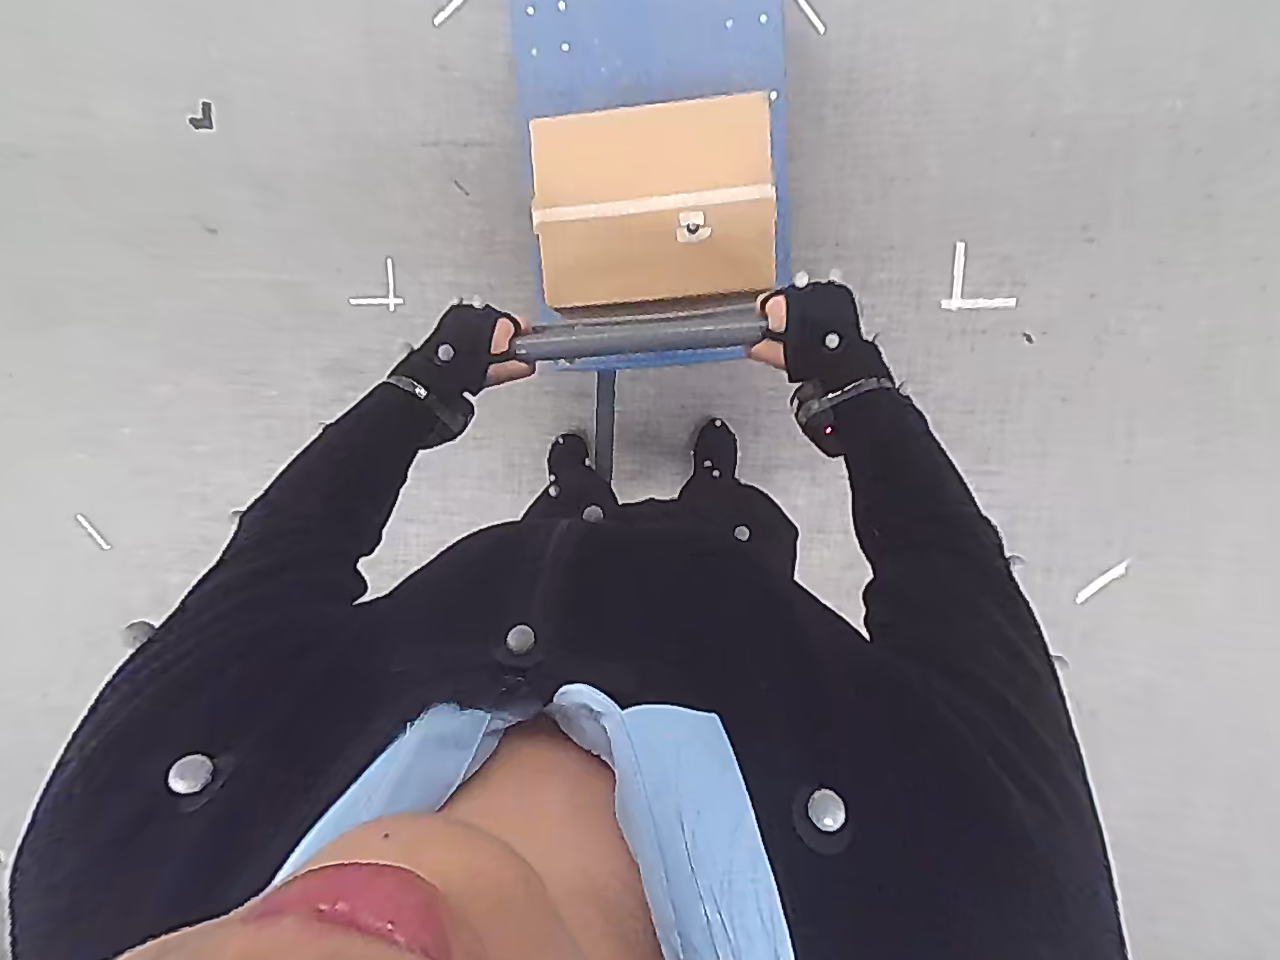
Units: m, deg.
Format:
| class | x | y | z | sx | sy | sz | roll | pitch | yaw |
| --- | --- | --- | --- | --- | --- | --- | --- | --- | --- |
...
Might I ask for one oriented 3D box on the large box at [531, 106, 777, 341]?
| class | x | y | z | sx | sy | sz | roll | pitch | yaw |
| --- | --- | --- | --- | --- | --- | --- | --- | --- | --- |
| large box | 0.034 | -0.464 | 1.061 | 0.408 | 0.320 | 0.320 | -3 | 99 | 5 |
